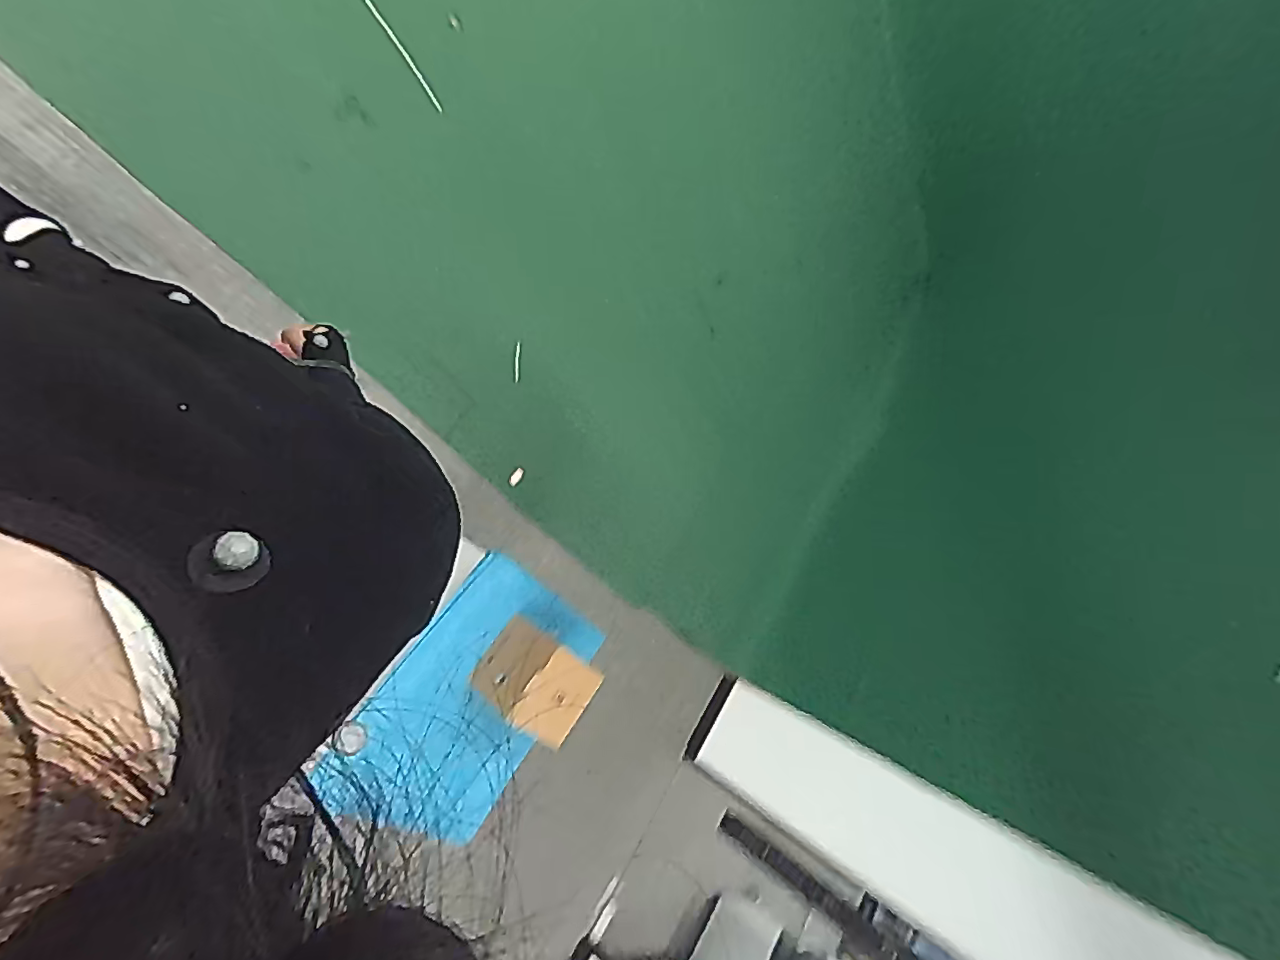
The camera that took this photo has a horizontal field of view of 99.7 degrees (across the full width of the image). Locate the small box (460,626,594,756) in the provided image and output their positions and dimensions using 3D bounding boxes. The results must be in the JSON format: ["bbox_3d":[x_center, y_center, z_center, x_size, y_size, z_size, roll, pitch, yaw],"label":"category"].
[{"bbox_3d":[-0.236,0.428,1.120,0.168,0.176,0.179,-52,134,-19],"label":"small box"}]
